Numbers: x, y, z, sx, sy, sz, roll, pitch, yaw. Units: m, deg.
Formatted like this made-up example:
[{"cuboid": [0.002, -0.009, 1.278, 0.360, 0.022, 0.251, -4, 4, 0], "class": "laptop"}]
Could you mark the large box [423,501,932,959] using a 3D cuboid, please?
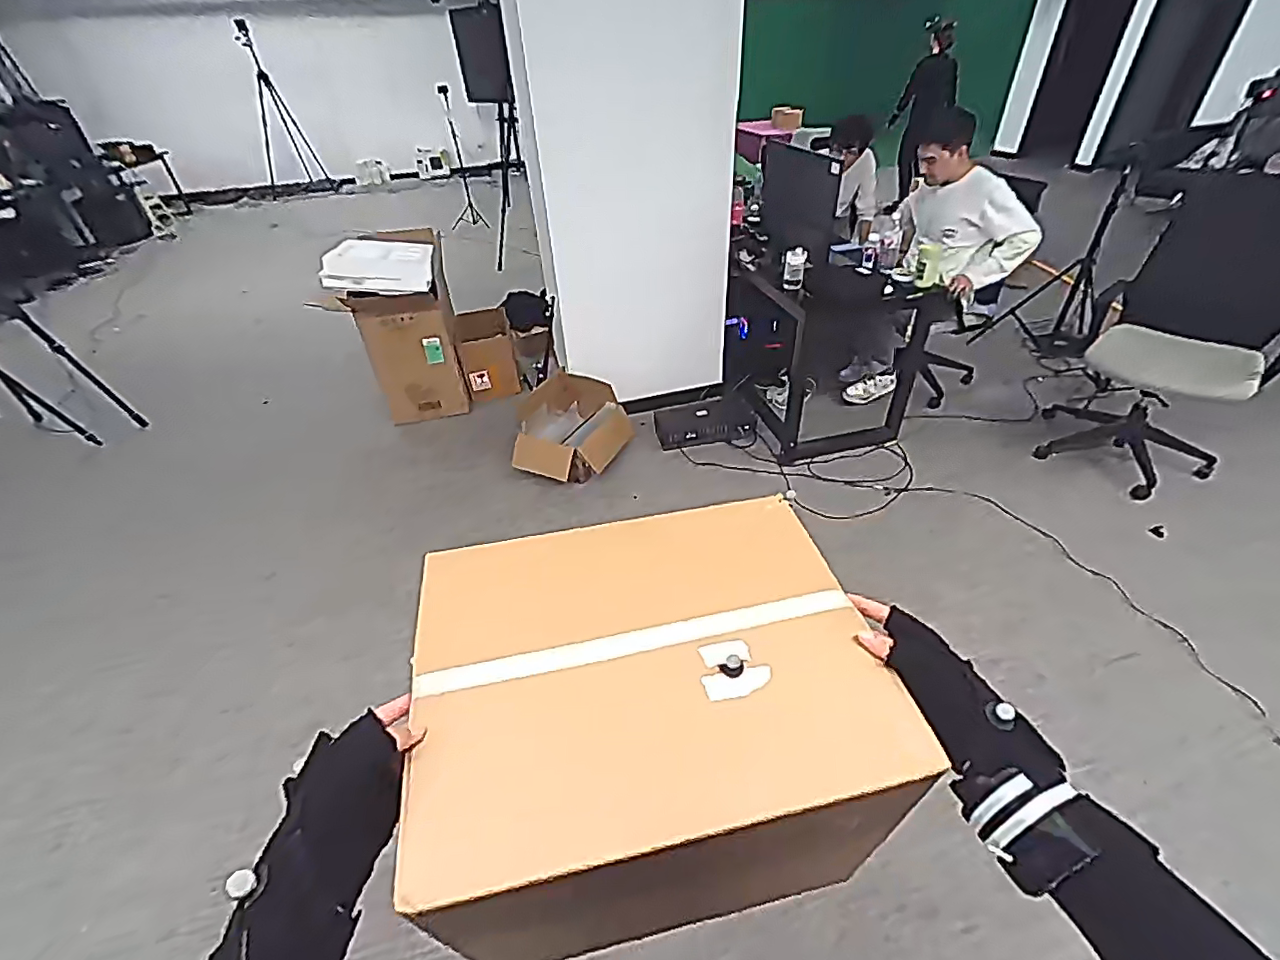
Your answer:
[{"cuboid": [0.010, 0.266, 0.602, 0.408, 0.320, 0.320, -9, 42, -9], "class": "large box"}]
